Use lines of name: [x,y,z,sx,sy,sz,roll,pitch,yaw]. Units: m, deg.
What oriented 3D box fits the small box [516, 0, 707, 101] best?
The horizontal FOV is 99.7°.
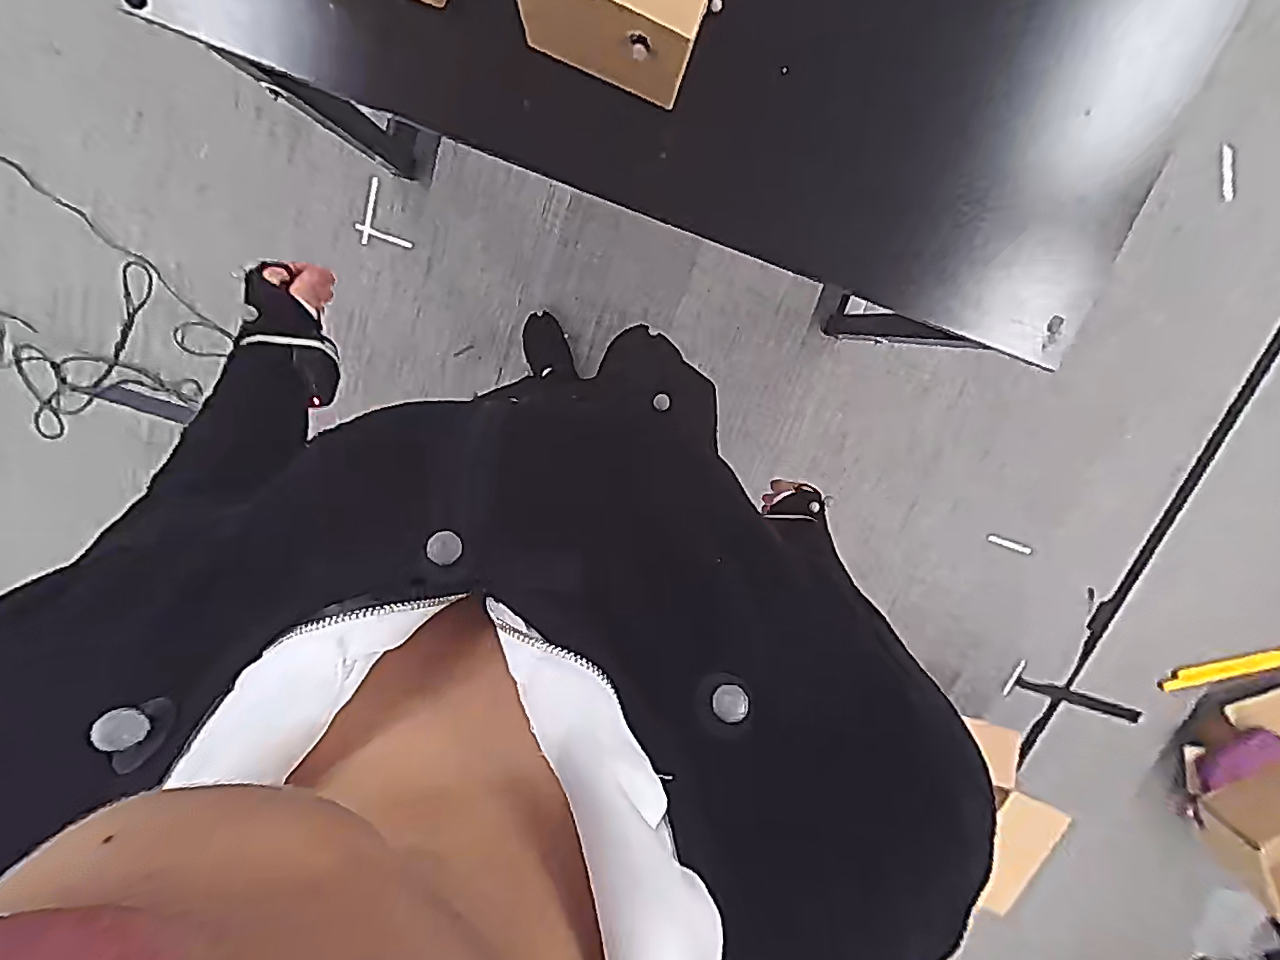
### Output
small box: [-0.014,-0.512,0.529,0.179,0.176,0.168,19,103,-9]
